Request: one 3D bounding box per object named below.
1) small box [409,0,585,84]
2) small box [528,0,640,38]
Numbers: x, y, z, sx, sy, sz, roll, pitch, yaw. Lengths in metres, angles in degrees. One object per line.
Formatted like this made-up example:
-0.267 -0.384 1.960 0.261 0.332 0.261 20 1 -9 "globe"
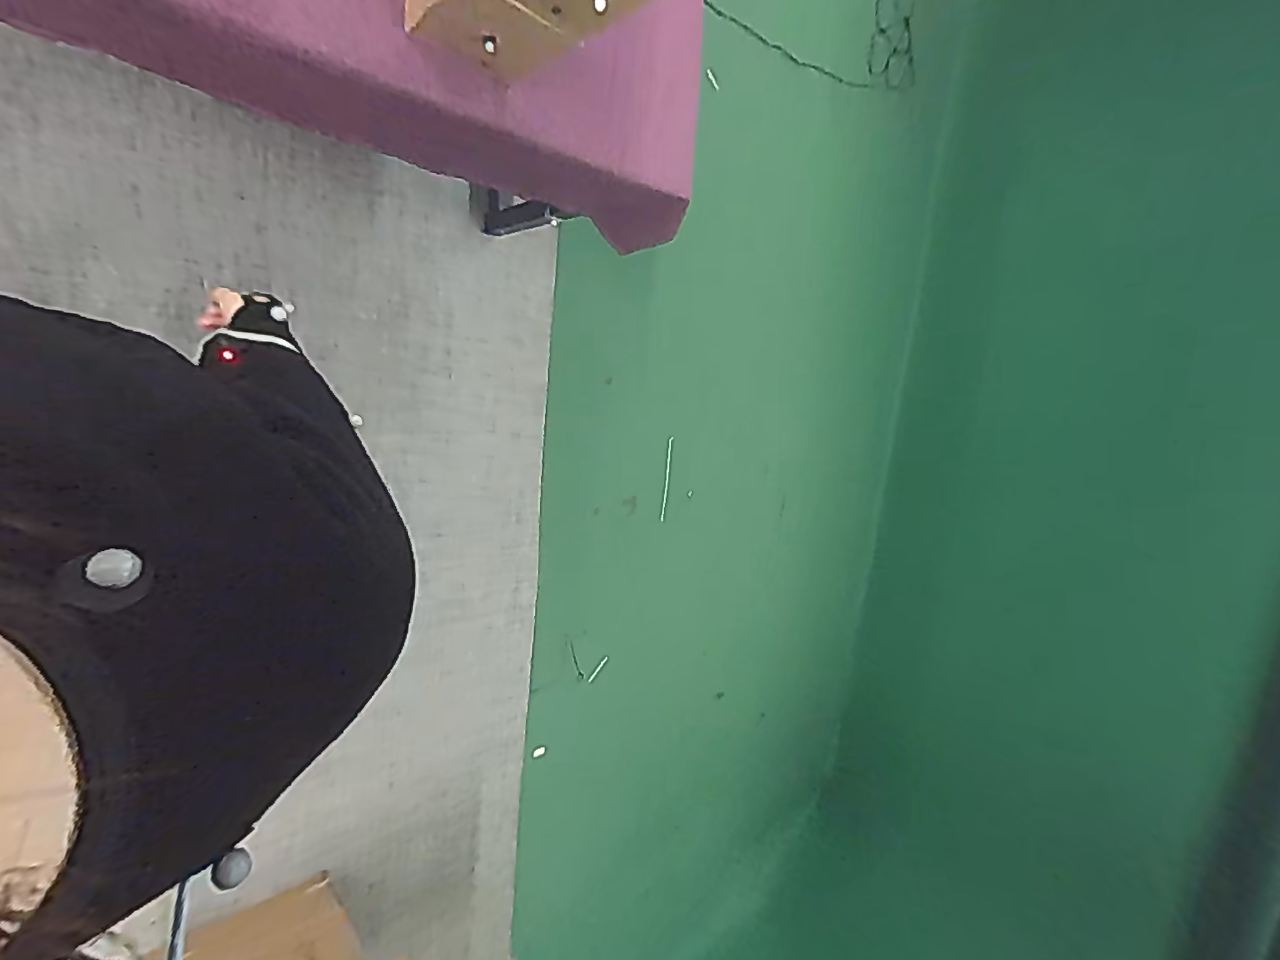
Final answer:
-0.180 -0.646 0.682 0.168 0.176 0.179 -7 104 -45 "small box"
-0.065 -0.622 0.568 0.168 0.176 0.179 -4 102 -45 "small box"
